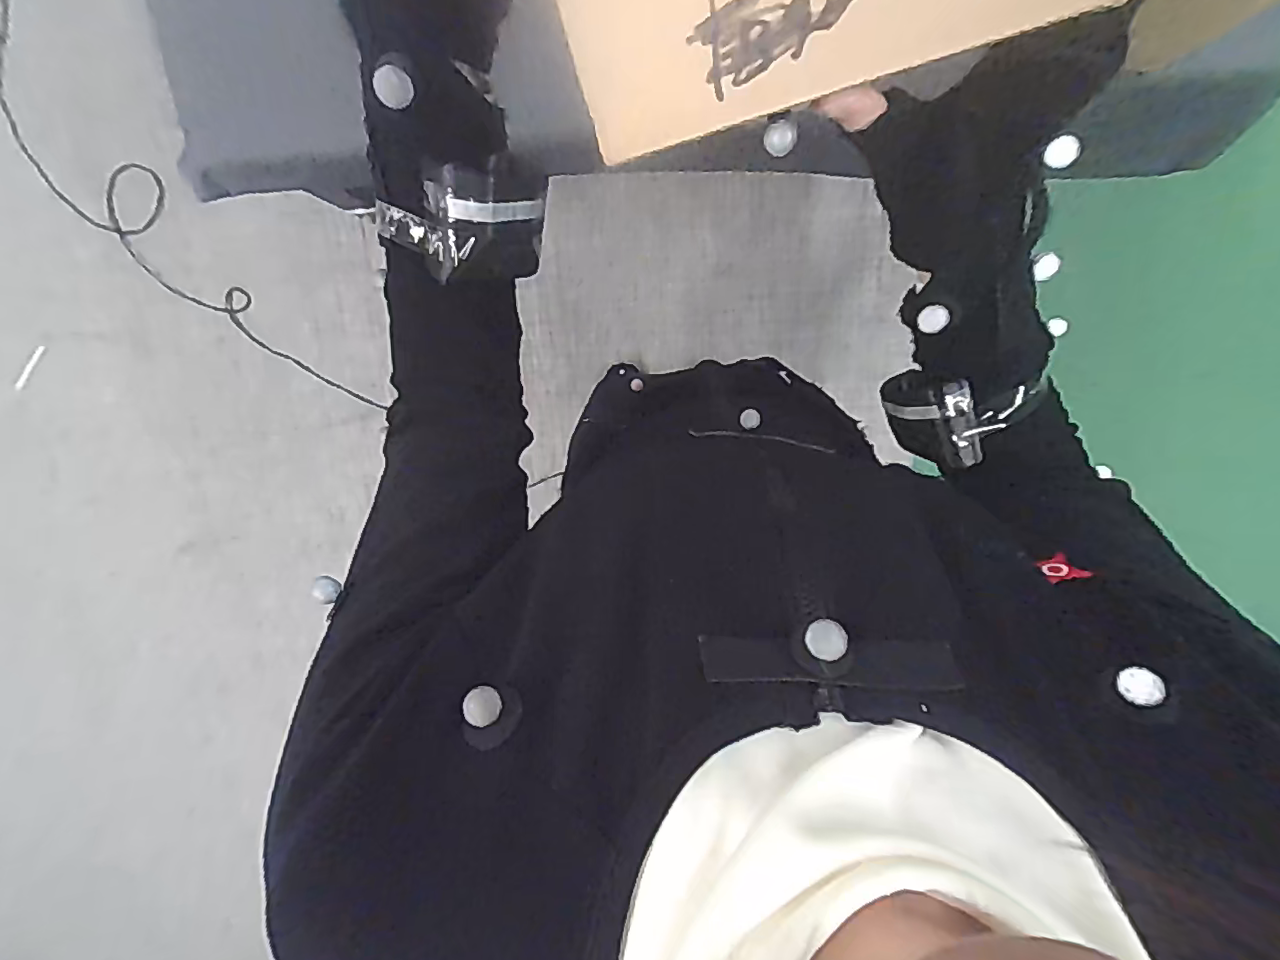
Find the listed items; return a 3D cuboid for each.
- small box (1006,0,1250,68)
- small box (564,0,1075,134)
[{"bbox_3d":[0.477,-0.517,0.494,0.168,0.176,0.179,3,102,-1],"label":"small box"},{"bbox_3d":[0.064,-0.252,0.199,0.168,0.176,0.179,-1,124,25],"label":"small box"}]
